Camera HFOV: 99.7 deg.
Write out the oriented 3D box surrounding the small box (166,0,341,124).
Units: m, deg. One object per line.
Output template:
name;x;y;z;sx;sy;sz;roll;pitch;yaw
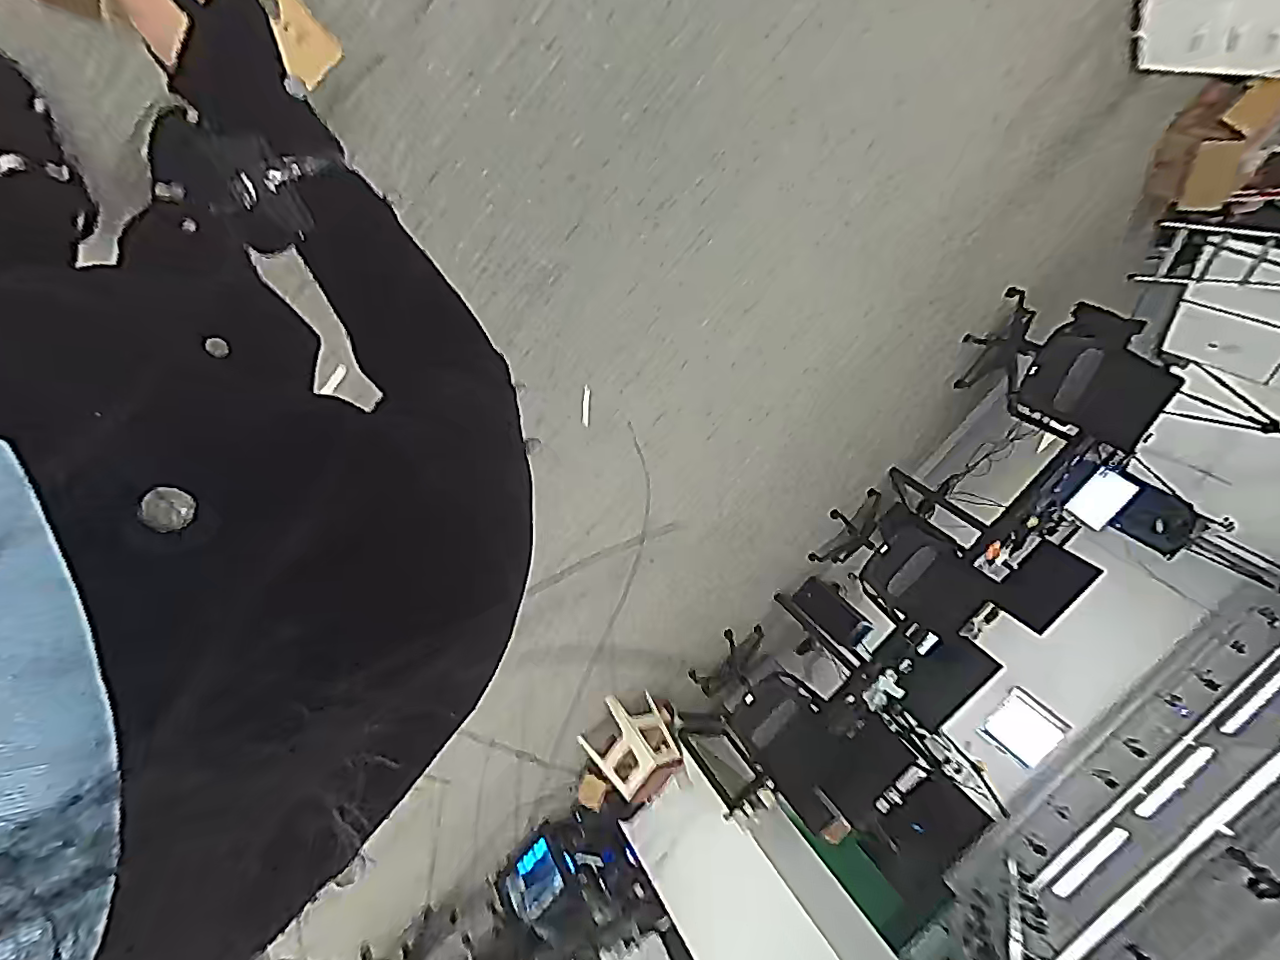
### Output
small box;-0.644;-0.741;0.905;0.179;0.176;0.168;-47;142;1
